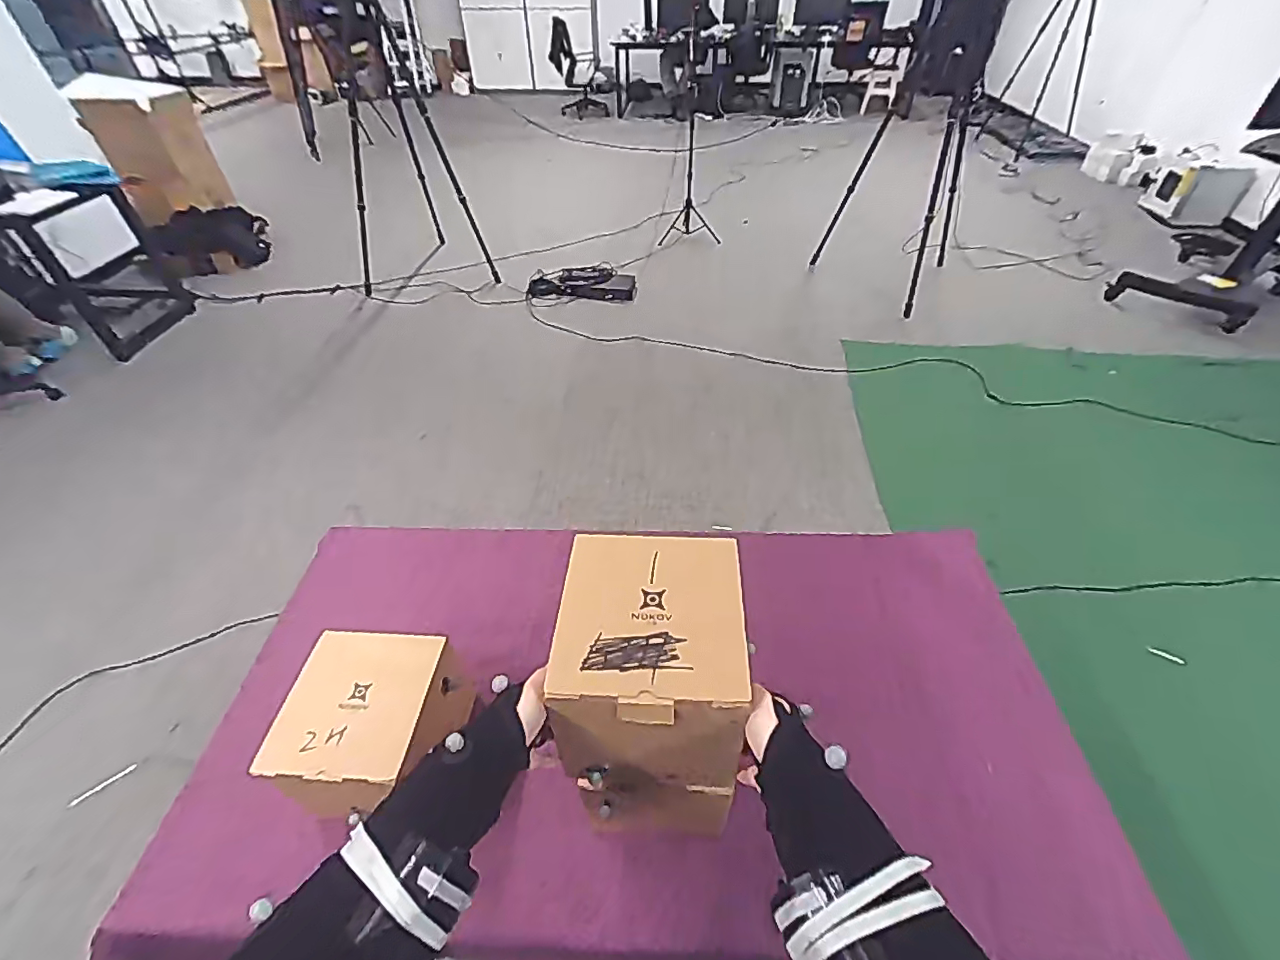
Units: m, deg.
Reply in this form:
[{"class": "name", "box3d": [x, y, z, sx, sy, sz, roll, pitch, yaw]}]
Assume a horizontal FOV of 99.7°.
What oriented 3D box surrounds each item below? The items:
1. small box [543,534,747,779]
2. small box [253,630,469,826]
[{"class": "small box", "box3d": [0.011, 0.174, 0.537, 0.168, 0.176, 0.179, 1, 40, 3]}, {"class": "small box", "box3d": [-0.332, 0.315, 0.692, 0.168, 0.176, 0.179, 2, 44, 3]}]
